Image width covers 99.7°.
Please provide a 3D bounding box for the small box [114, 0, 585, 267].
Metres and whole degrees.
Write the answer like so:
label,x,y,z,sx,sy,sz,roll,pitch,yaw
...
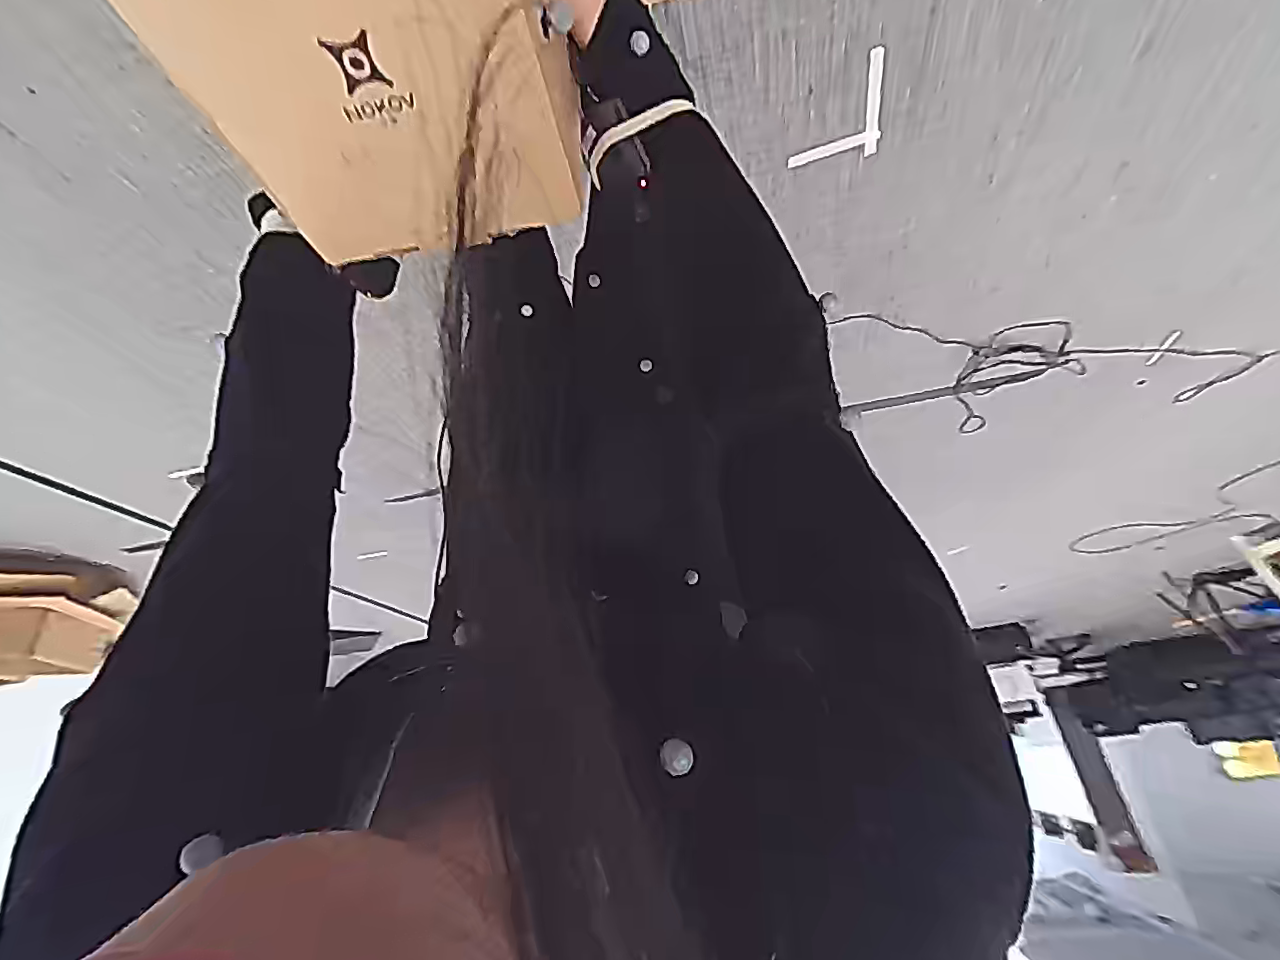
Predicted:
label,x,y,z,sx,sy,sz,roll,pitch,yaw
small box,-0.127,-0.252,0.290,0.168,0.176,0.179,-8,152,6
